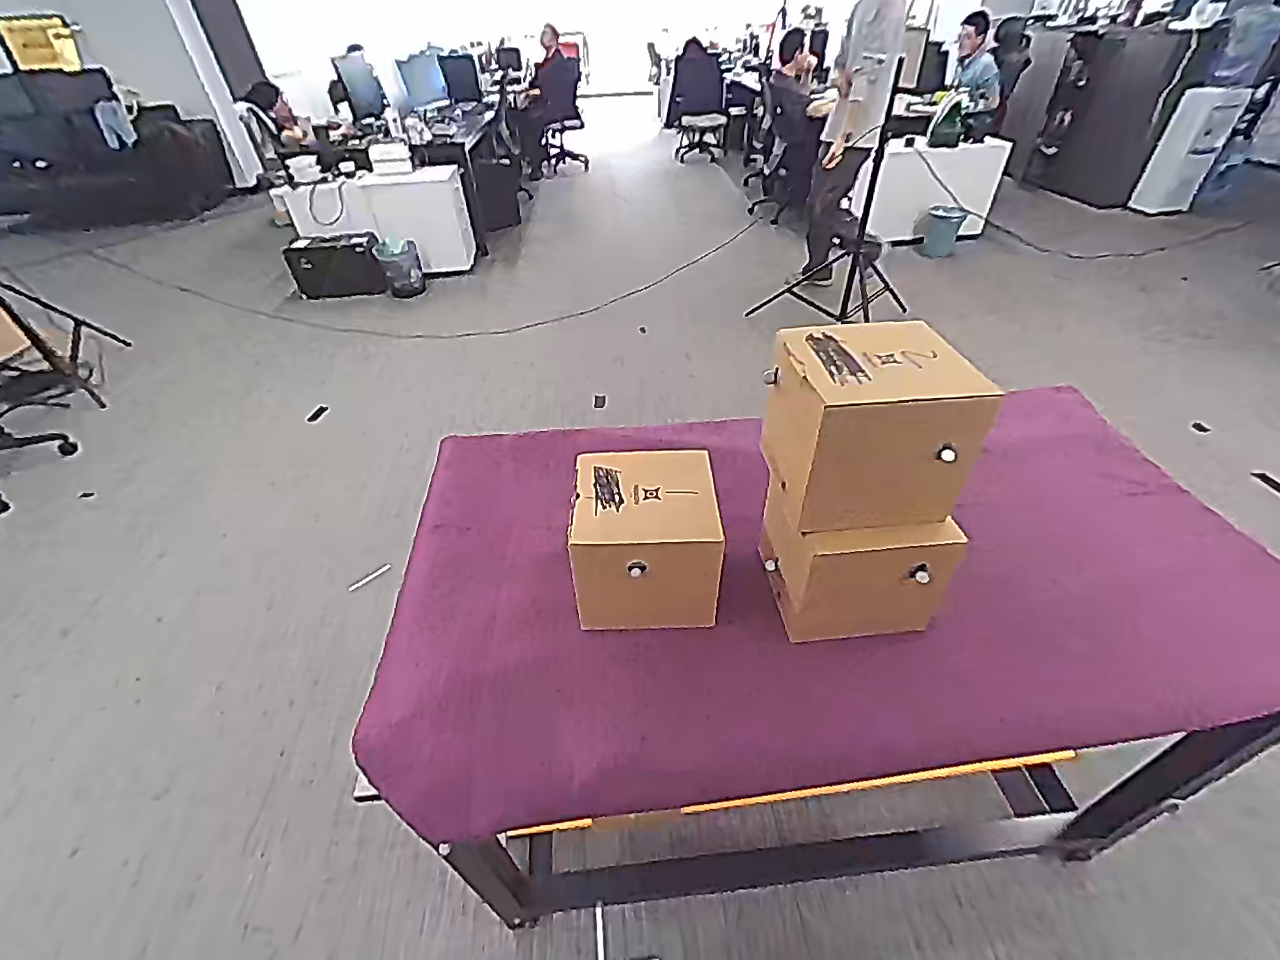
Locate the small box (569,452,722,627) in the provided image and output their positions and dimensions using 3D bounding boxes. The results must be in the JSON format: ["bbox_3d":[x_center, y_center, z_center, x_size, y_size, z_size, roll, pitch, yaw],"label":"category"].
[{"bbox_3d":[0.007,0.079,0.714,0.179,0.176,0.168,-1,40,-1],"label":"small box"}]

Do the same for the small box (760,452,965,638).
[{"bbox_3d":[0.266,0.084,0.696,0.179,0.176,0.168,-5,39,-3],"label":"small box"}]

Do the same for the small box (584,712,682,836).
[{"bbox_3d":[-0.017,0.587,1.079,0.179,0.176,0.168,-5,43,-4],"label":"small box"}]
